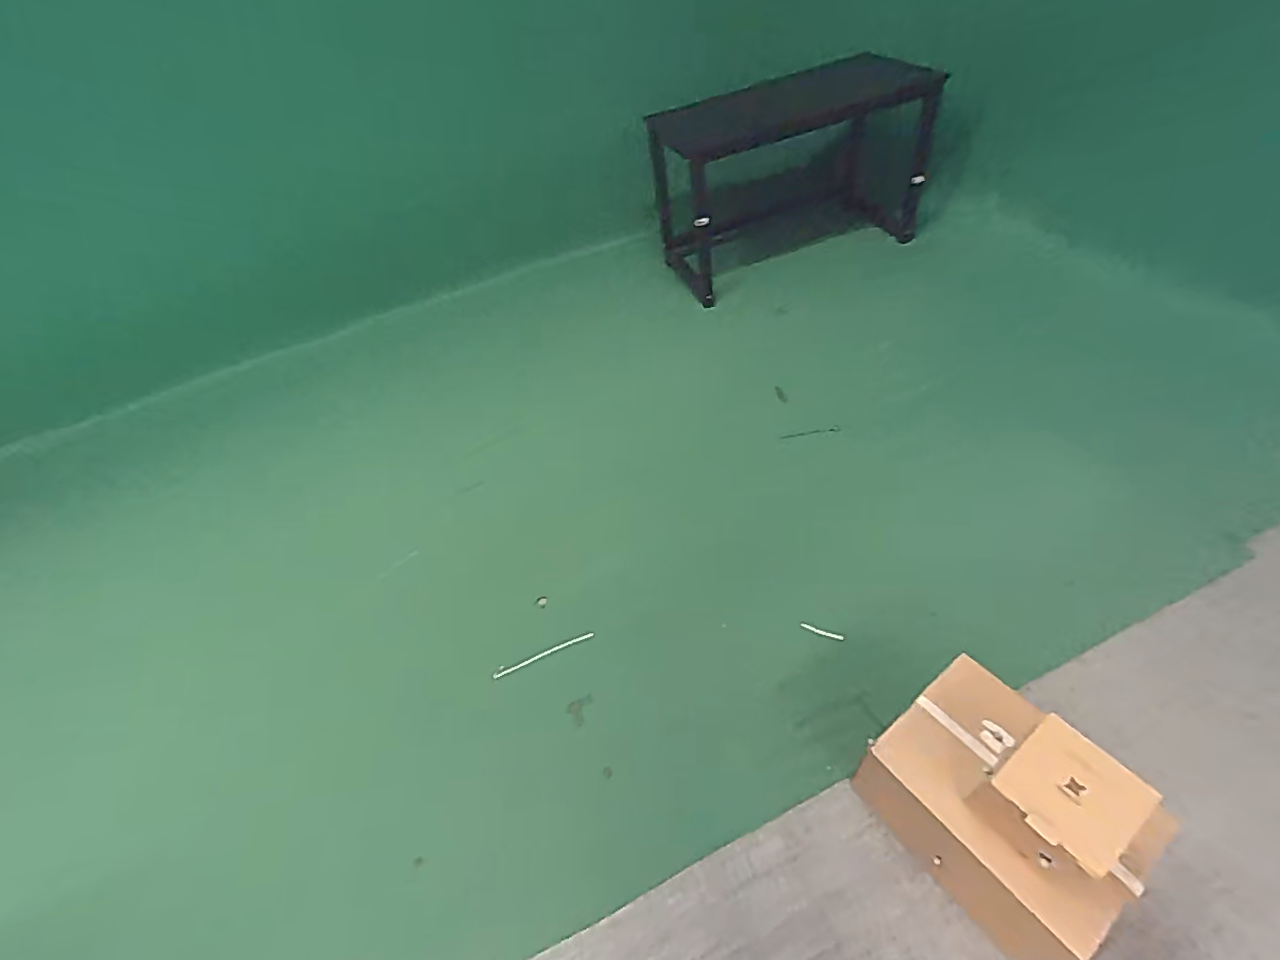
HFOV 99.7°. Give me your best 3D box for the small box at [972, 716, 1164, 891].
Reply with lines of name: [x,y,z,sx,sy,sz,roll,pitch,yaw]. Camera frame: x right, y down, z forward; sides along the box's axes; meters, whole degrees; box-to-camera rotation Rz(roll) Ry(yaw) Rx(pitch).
small box: [0.685,0.535,0.892,0.179,0.176,0.168,-33,51,-17]

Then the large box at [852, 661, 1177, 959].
large box: [0.710,0.668,1.102,0.320,0.320,0.408,-33,49,-18]
